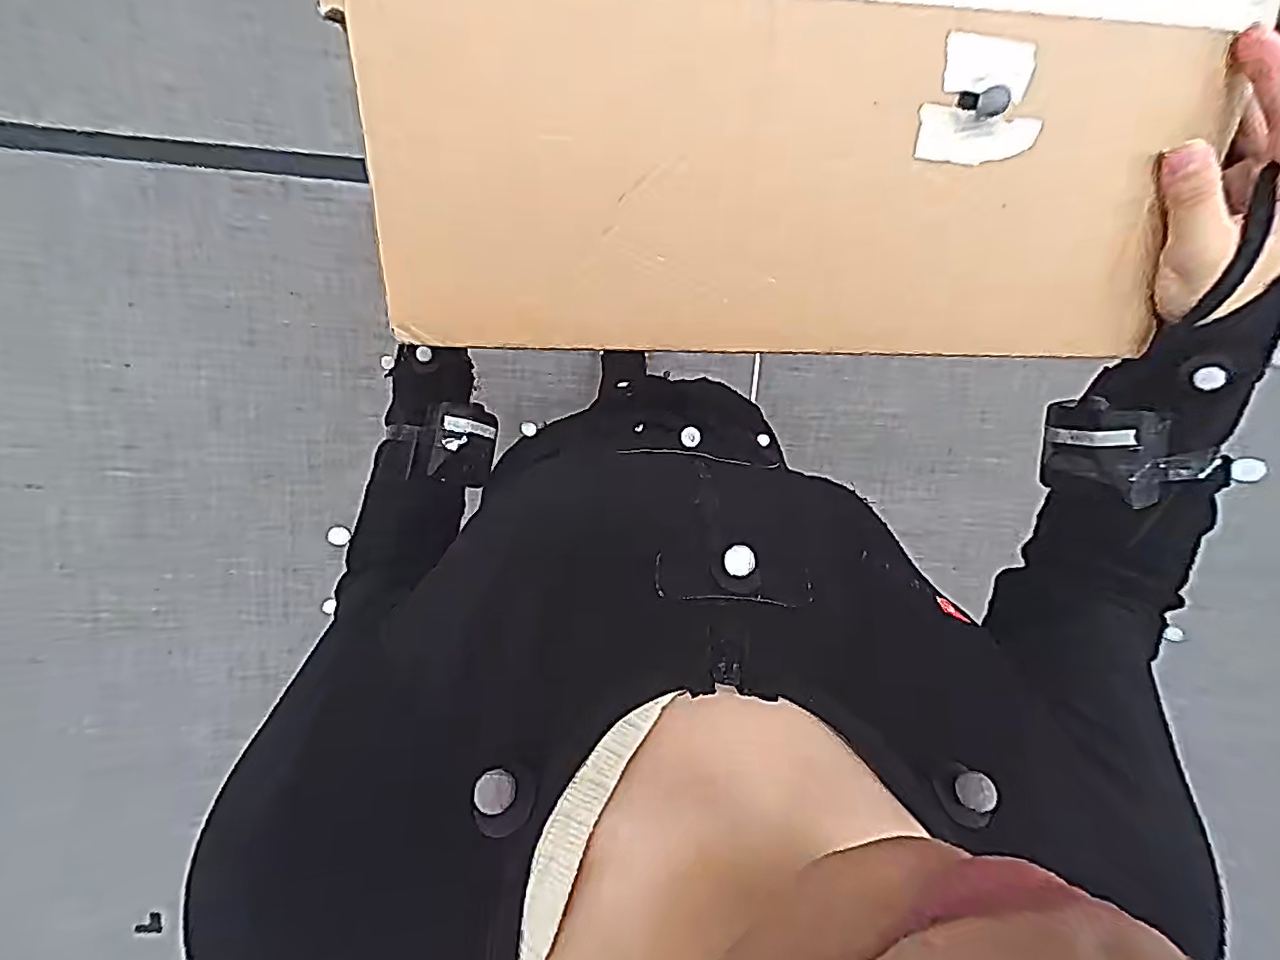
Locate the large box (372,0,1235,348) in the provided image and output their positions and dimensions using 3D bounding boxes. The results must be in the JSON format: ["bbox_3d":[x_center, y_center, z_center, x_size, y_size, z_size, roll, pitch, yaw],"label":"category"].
[{"bbox_3d":[0.065,-0.272,0.374,0.408,0.320,0.320,-2,113,-8],"label":"large box"}]
